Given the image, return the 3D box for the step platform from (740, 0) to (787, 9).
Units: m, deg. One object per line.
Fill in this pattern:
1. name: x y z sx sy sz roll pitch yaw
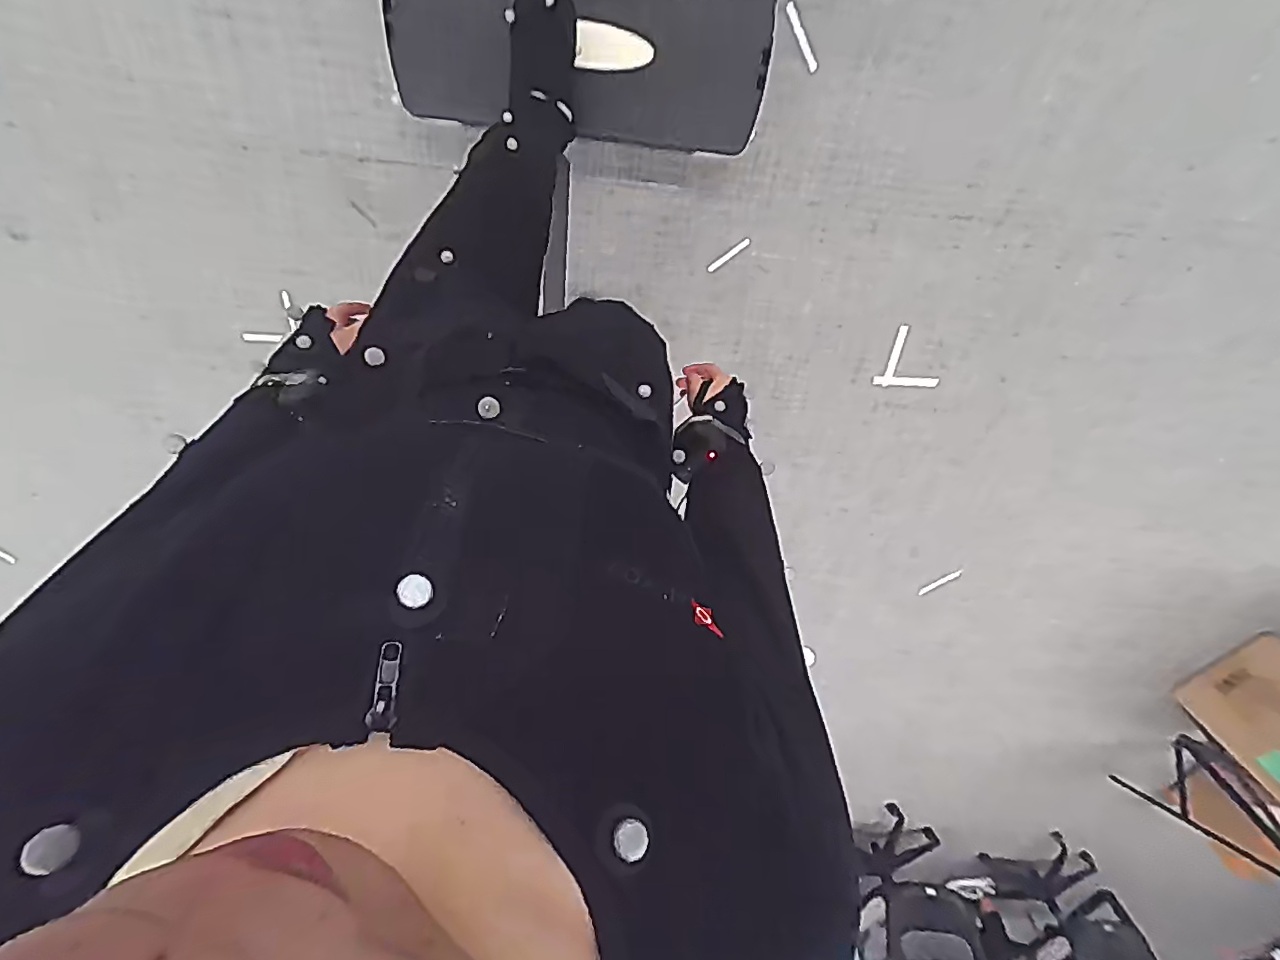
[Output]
1. step platform: -0.036 -0.968 0.804 0.684 0.204 0.286 7 121 -8
